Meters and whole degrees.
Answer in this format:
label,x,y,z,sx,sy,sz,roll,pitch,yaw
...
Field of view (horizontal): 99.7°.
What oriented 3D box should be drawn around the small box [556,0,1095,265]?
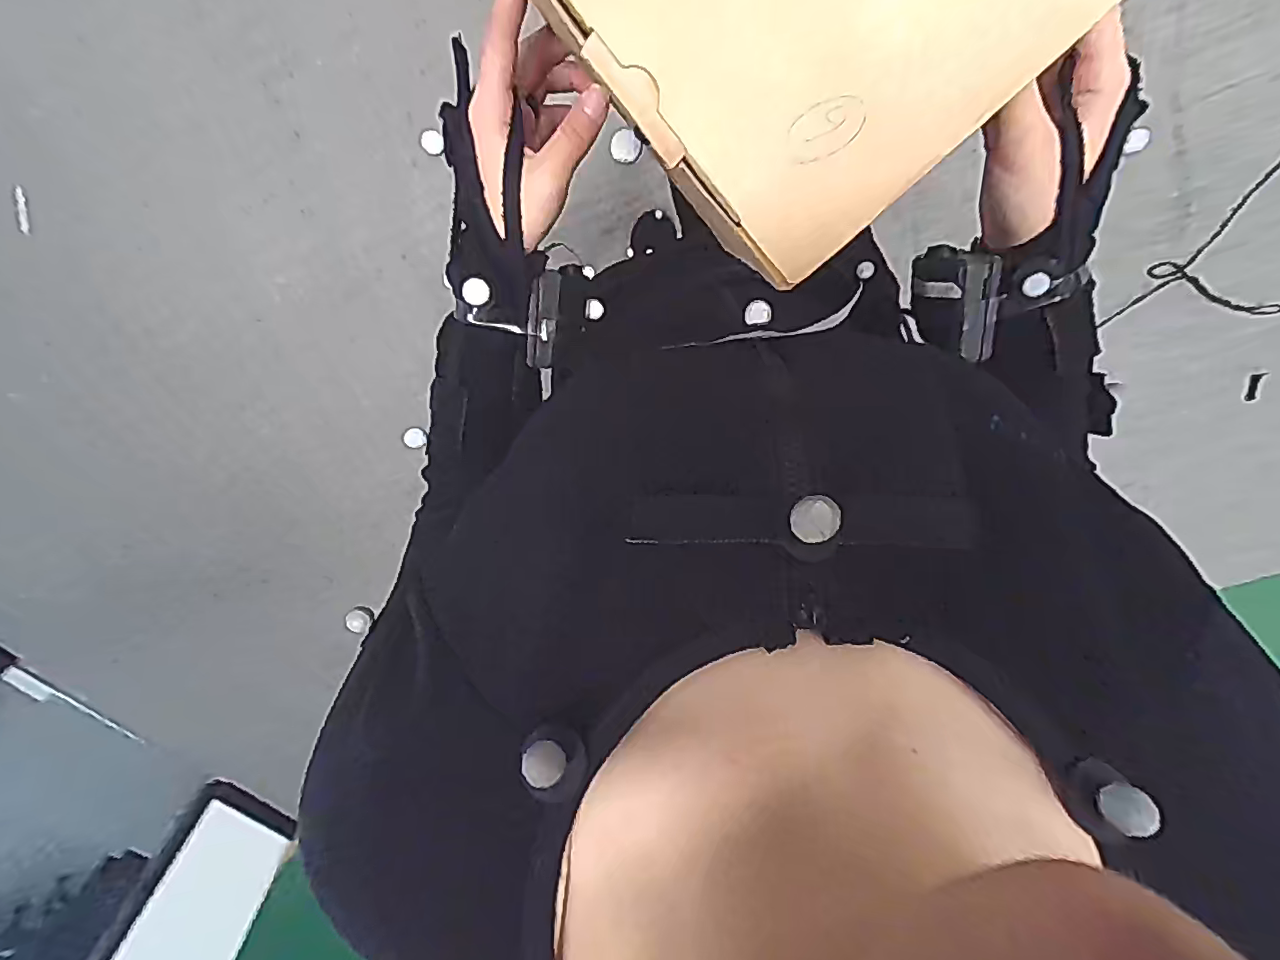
label,x,y,z,sx,sy,sz,roll,pitch,yaw
small box,0.064,-0.217,0.215,0.179,0.176,0.168,-38,110,20
